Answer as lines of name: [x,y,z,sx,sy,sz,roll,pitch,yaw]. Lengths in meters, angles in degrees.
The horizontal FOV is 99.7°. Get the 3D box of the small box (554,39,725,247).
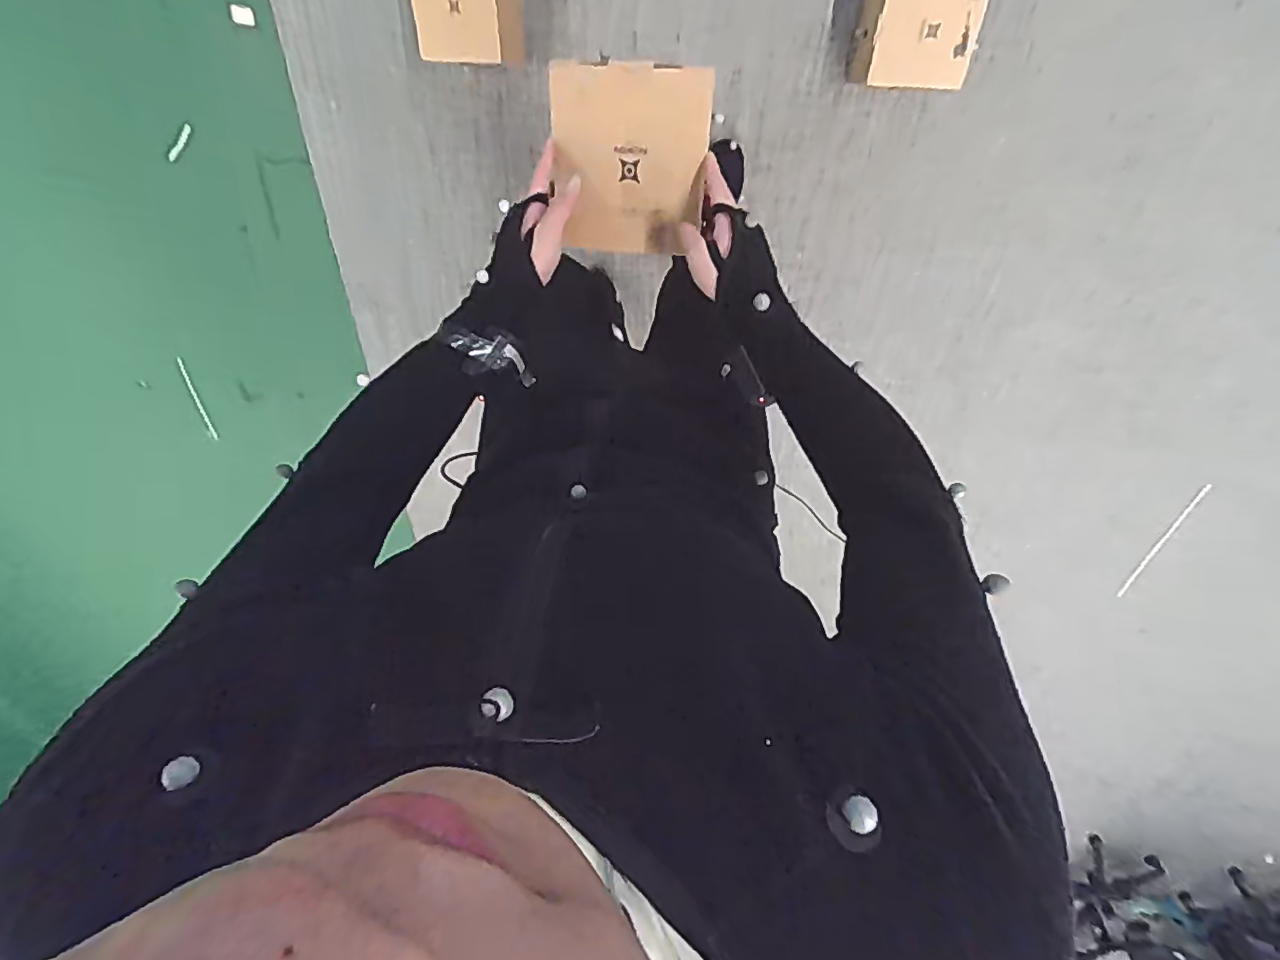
small box: [0.000,-0.382,0.619,0.168,0.176,0.179,5,126,3]

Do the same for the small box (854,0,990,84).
small box: [0.510,-0.835,0.993,0.179,0.176,0.168,7,127,4]

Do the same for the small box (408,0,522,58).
small box: [-0.335,-0.931,1.044,0.168,0.176,0.179,5,126,5]
